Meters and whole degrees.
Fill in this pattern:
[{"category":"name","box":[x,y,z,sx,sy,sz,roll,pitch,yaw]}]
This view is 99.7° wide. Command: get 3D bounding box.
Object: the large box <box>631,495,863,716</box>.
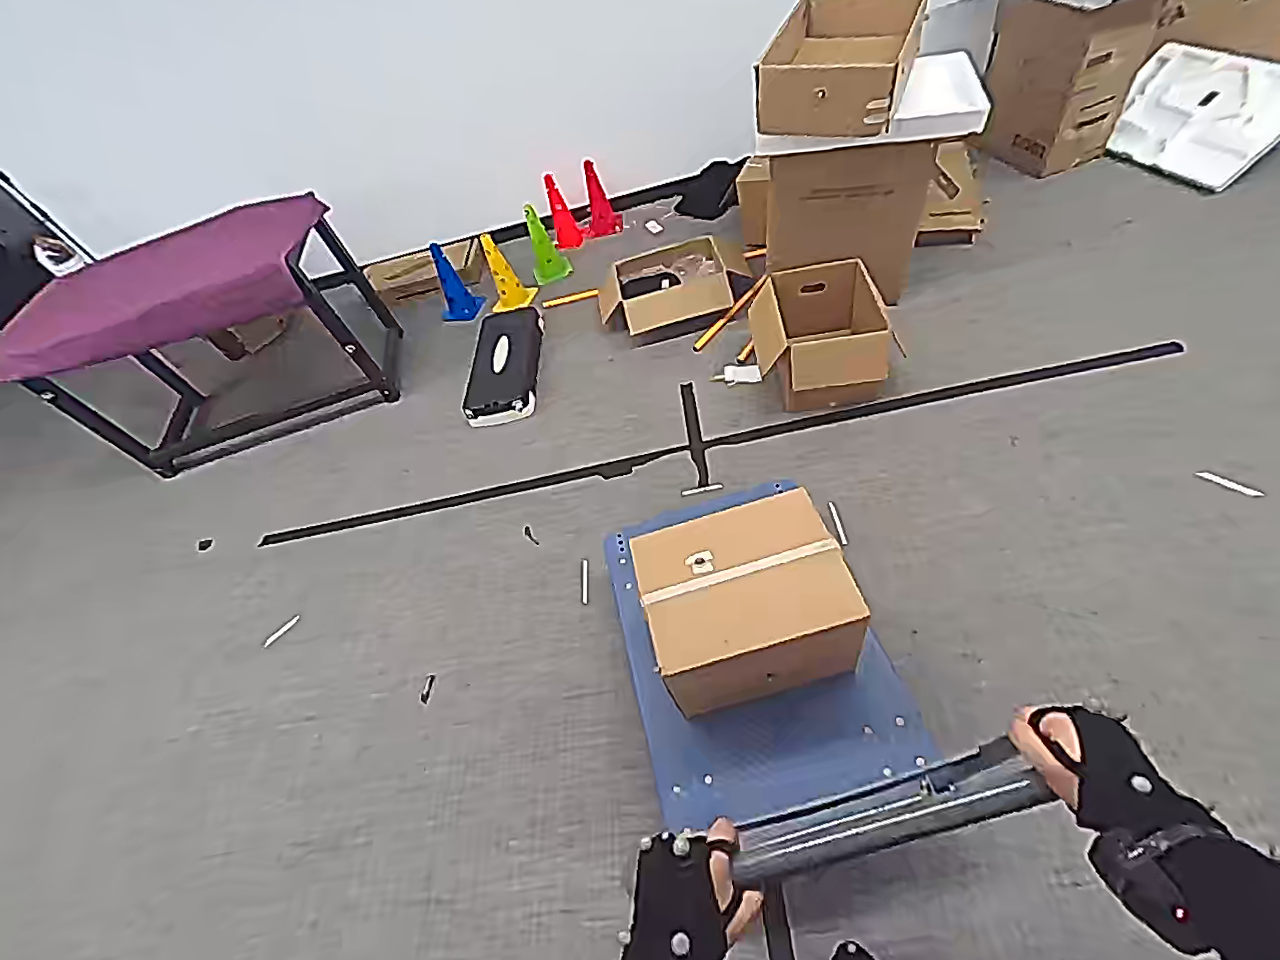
[{"category":"large box","box":[0.233,0.293,1.225,0.408,0.320,0.320,-18,50,3]}]
